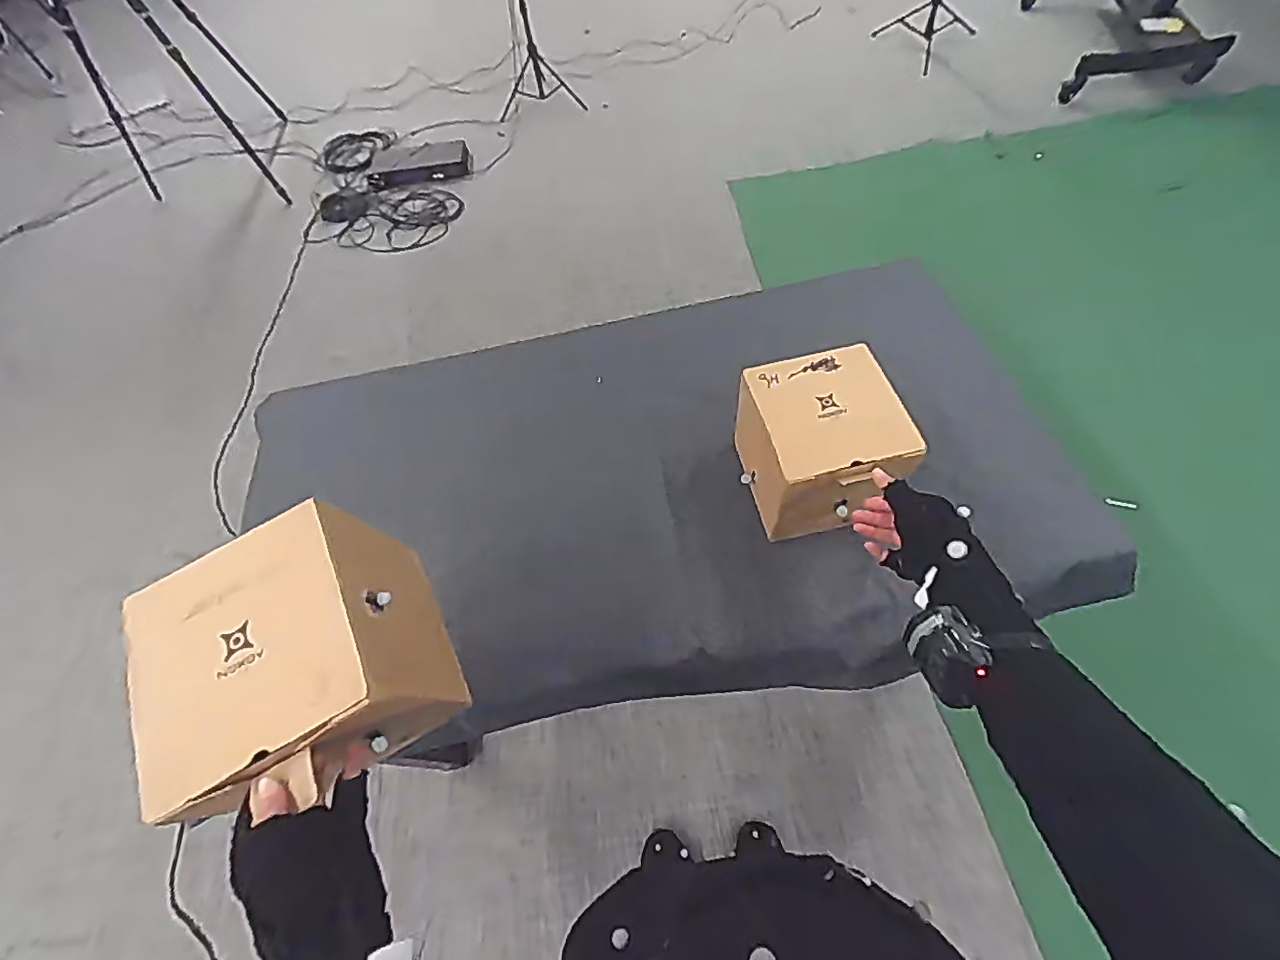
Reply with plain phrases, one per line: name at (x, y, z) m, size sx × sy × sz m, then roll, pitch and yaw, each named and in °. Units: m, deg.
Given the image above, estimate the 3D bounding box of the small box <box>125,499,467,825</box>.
small box at (-0.277, 0.151, 0.464) m, size 0.168 × 0.176 × 0.179 m, roll -30°, pitch 65°, yaw -5°

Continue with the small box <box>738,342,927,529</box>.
small box at (0.235, -0.048, 0.714) m, size 0.168 × 0.176 × 0.179 m, roll -12°, pitch 60°, yaw -2°
